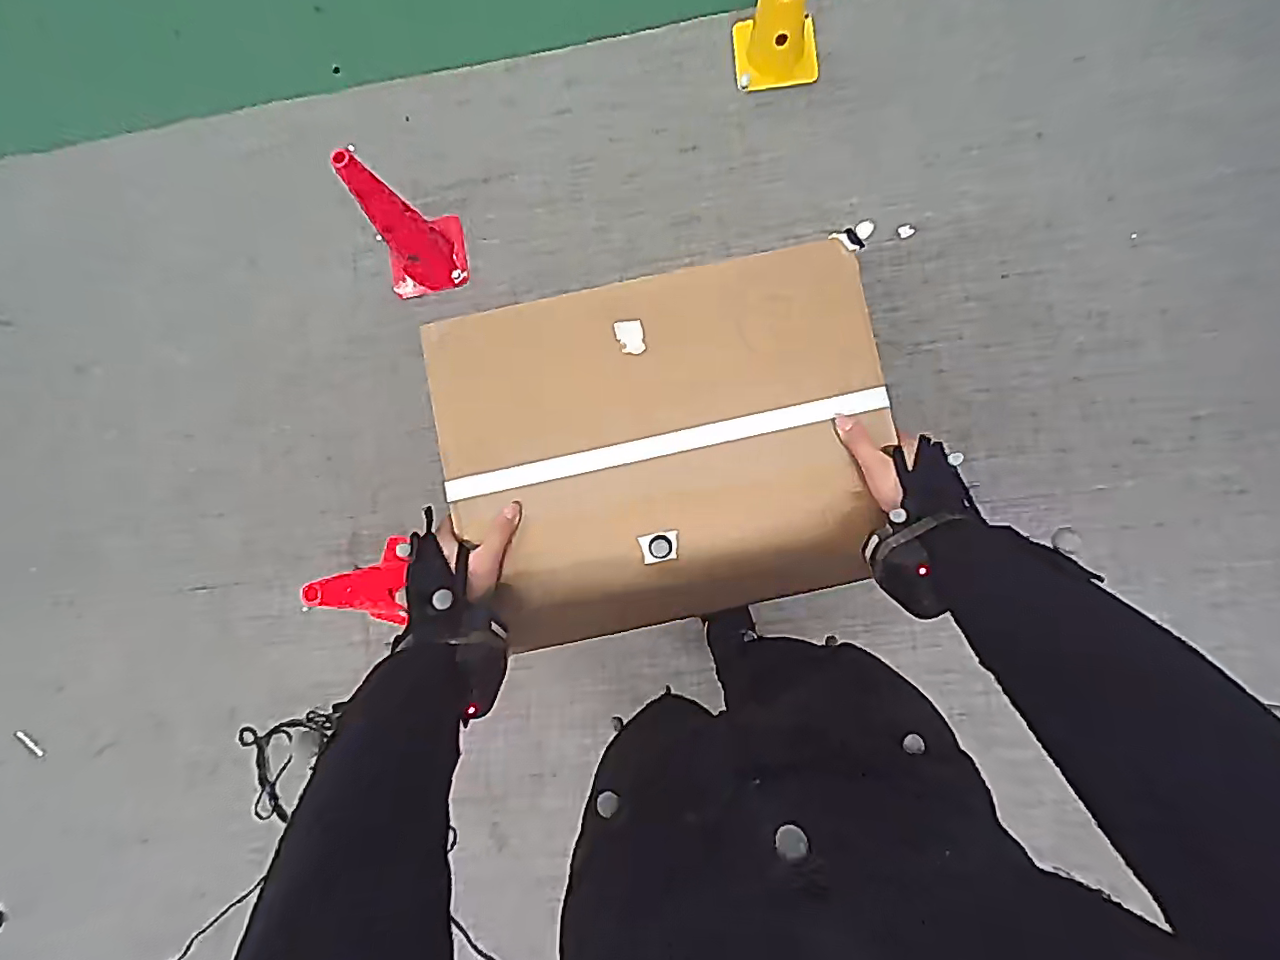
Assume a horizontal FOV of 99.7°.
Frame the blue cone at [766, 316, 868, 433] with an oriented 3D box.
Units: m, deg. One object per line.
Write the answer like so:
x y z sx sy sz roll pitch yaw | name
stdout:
0.370 -0.226 1.072 0.192 0.380 0.193 -6 81 6 | blue cone

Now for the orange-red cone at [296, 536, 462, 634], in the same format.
-0.557 0.217 1.110 0.199 0.360 0.198 13 82 11 | orange-red cone

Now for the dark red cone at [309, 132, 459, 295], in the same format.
-0.584 -0.611 1.218 0.202 0.394 0.201 -14 77 5 | dark red cone
